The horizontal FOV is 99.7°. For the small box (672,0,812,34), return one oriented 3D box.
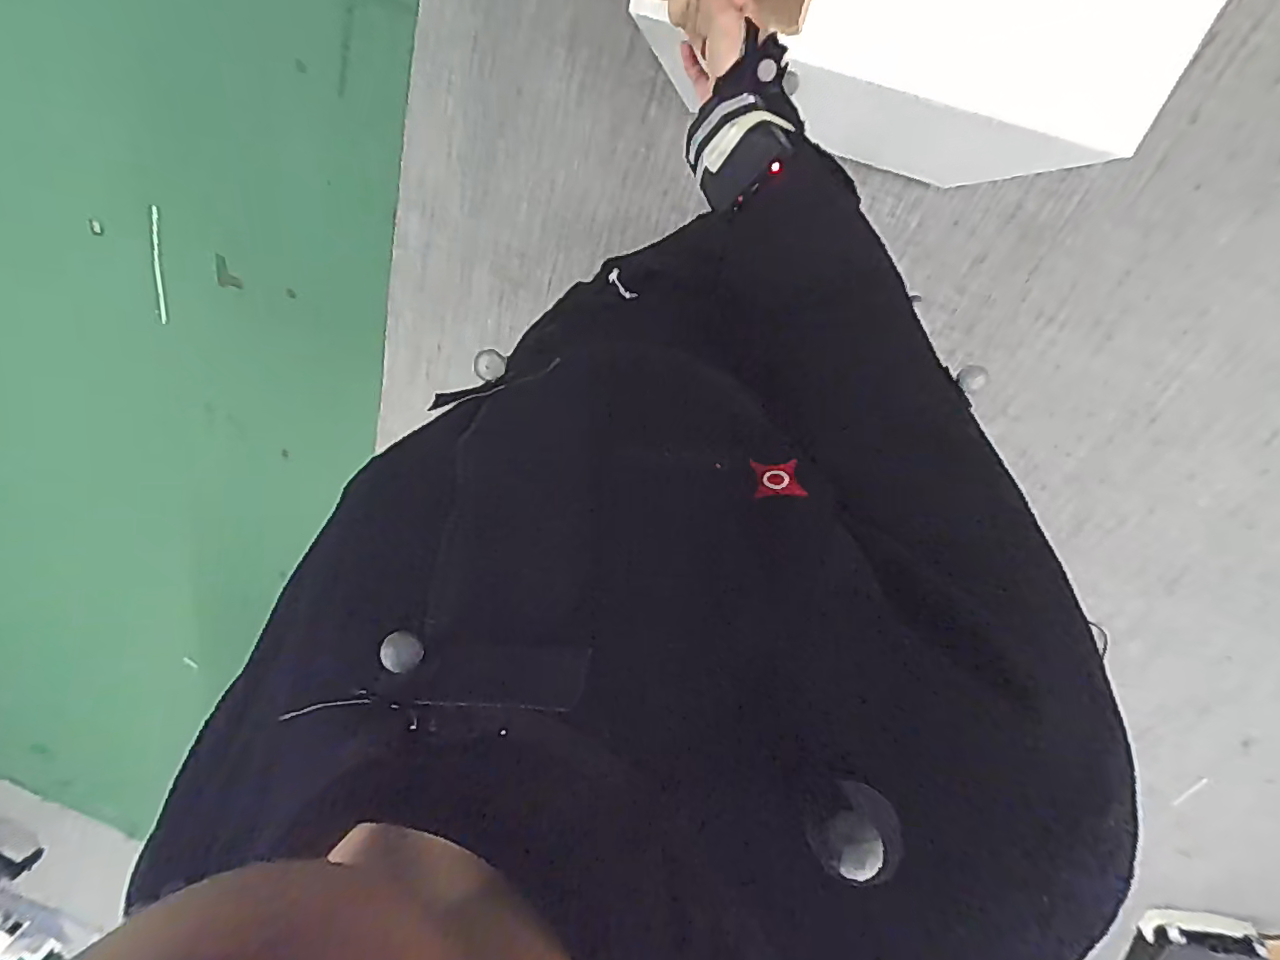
[{"bbox_3d":[0.086,-0.489,0.412,0.168,0.176,0.179,19,118,2],"label":"small box"}]
